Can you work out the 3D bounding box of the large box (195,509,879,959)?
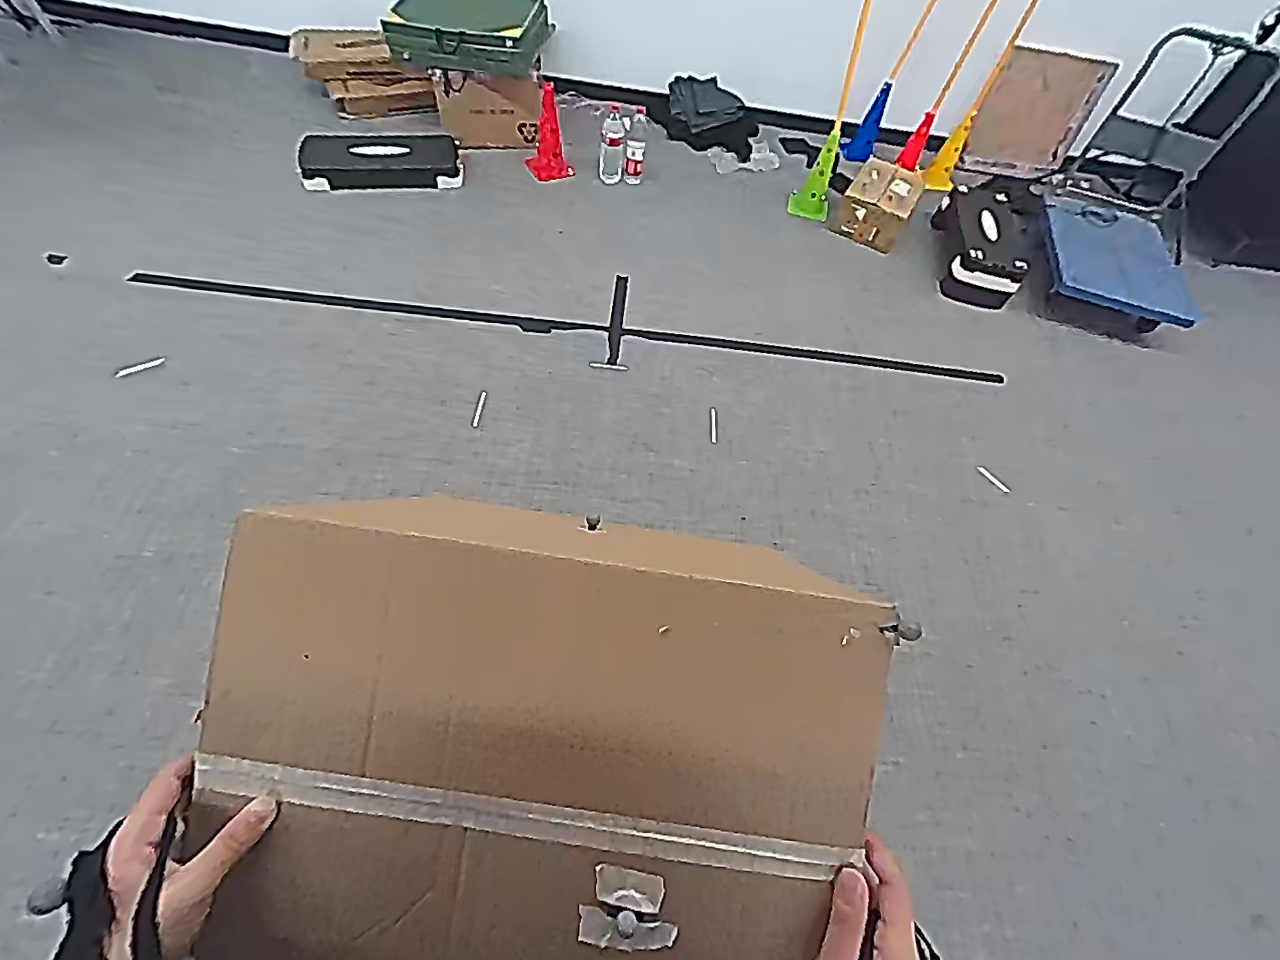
[{"bbox_3d":[-0.066,0.206,0.488,0.408,0.320,0.320,8,91,-1],"label":"large box"}]
